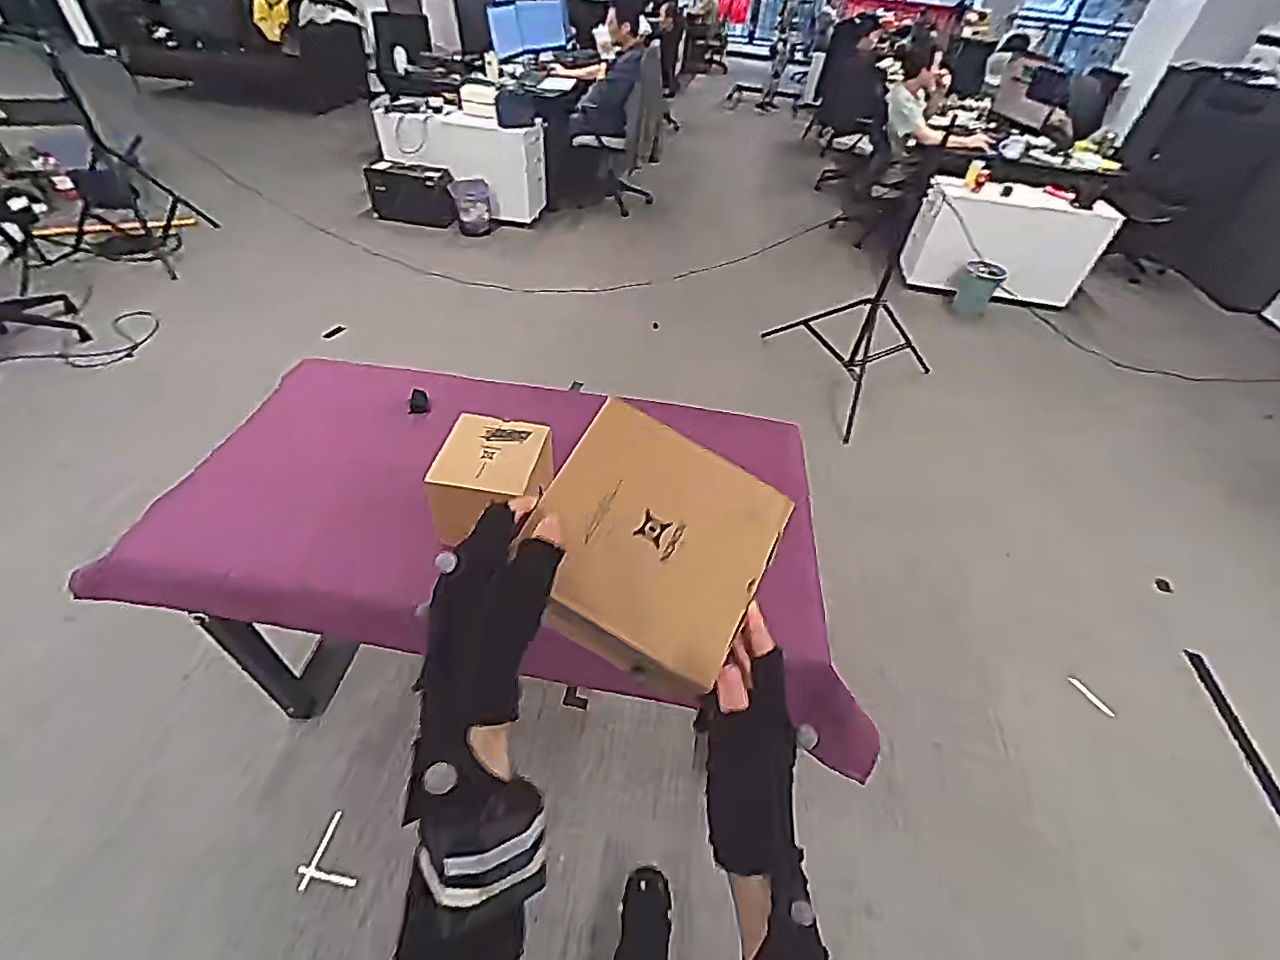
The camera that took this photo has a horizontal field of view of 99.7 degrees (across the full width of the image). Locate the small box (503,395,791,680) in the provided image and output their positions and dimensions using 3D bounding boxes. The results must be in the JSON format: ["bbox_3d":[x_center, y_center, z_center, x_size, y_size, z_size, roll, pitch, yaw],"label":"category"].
[{"bbox_3d":[-0.001,0.063,0.484,0.179,0.176,0.168,28,64,2],"label":"small box"}]

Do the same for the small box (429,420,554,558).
[{"bbox_3d":[-0.256,0.019,0.978,0.168,0.176,0.179,8,45,3],"label":"small box"}]
